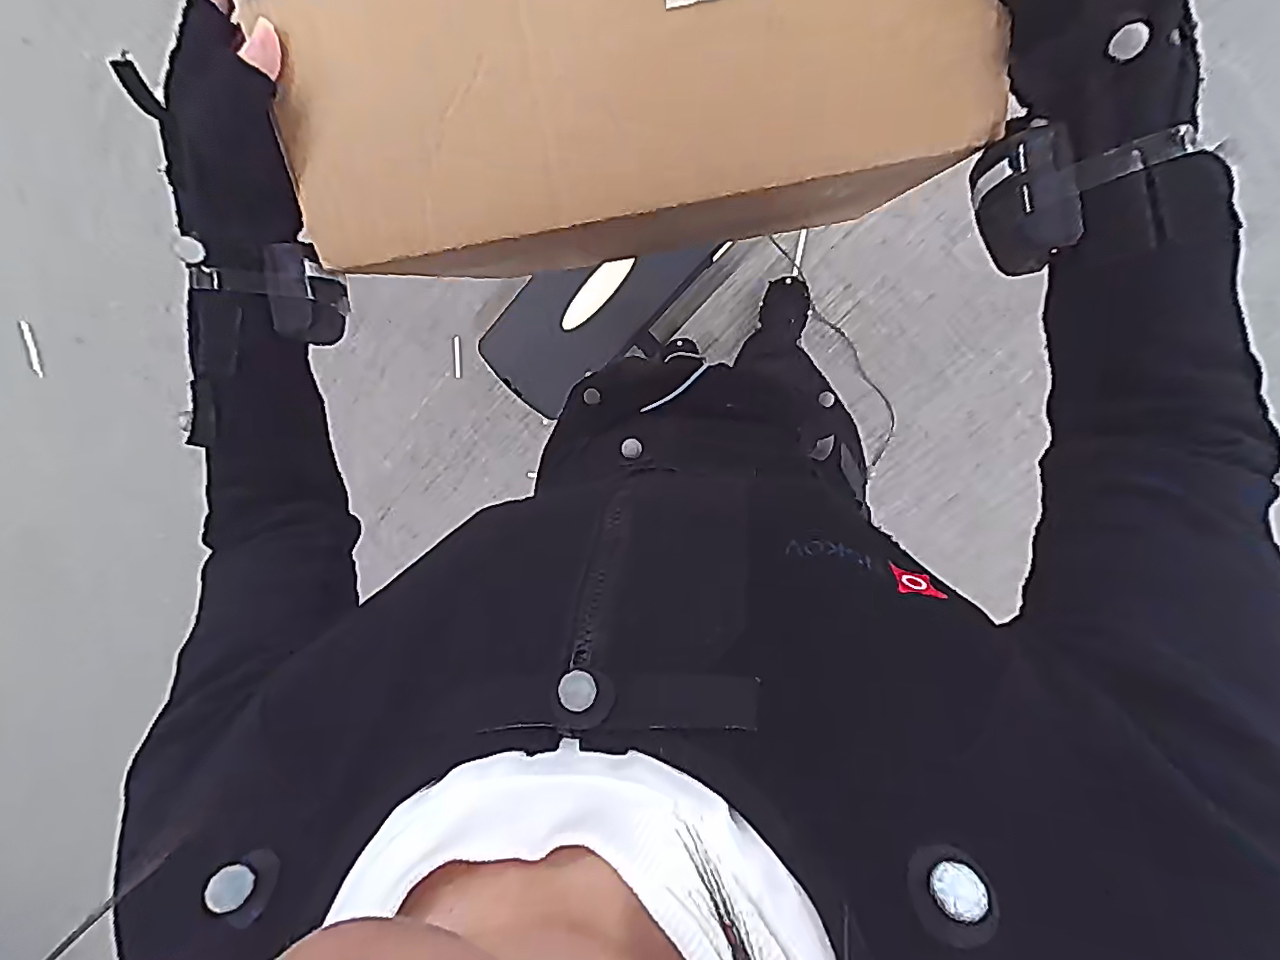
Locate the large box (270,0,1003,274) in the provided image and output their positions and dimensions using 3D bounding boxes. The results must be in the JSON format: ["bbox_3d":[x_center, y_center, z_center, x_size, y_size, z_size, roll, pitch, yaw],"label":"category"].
[{"bbox_3d":[-0.006,-0.361,0.420,0.408,0.320,0.320,-6,109,10],"label":"large box"}]
